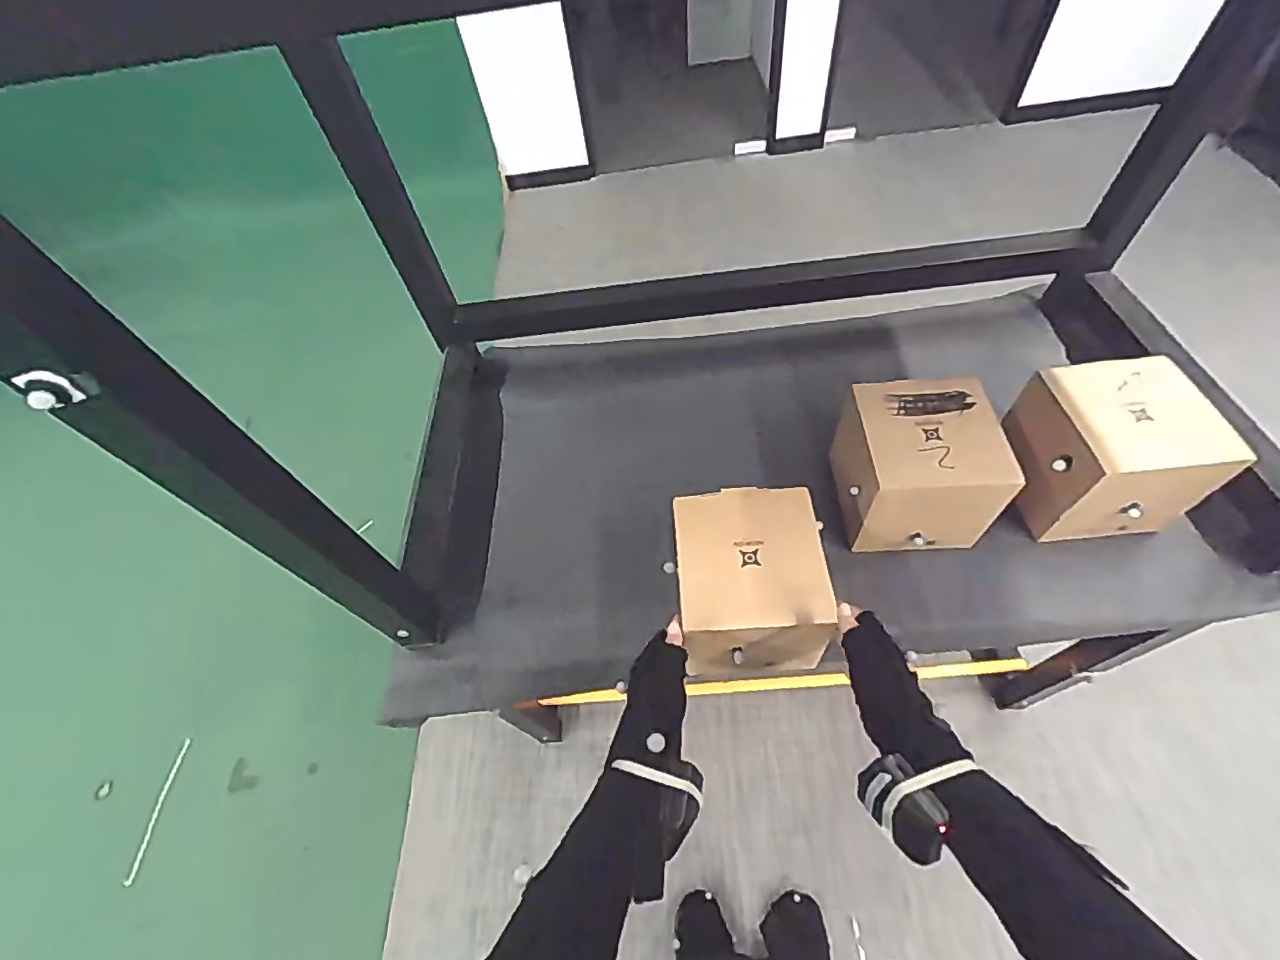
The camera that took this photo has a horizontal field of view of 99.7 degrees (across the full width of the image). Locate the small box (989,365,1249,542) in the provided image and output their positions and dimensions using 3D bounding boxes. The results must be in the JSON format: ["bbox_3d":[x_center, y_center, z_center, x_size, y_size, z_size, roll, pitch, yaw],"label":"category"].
[{"bbox_3d":[0.620,-0.027,0.733,0.168,0.176,0.179,-6,54,3],"label":"small box"}]

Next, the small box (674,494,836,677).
[{"bbox_3d":[0.134,0.141,0.682,0.168,0.176,0.179,-5,53,4],"label":"small box"}]
